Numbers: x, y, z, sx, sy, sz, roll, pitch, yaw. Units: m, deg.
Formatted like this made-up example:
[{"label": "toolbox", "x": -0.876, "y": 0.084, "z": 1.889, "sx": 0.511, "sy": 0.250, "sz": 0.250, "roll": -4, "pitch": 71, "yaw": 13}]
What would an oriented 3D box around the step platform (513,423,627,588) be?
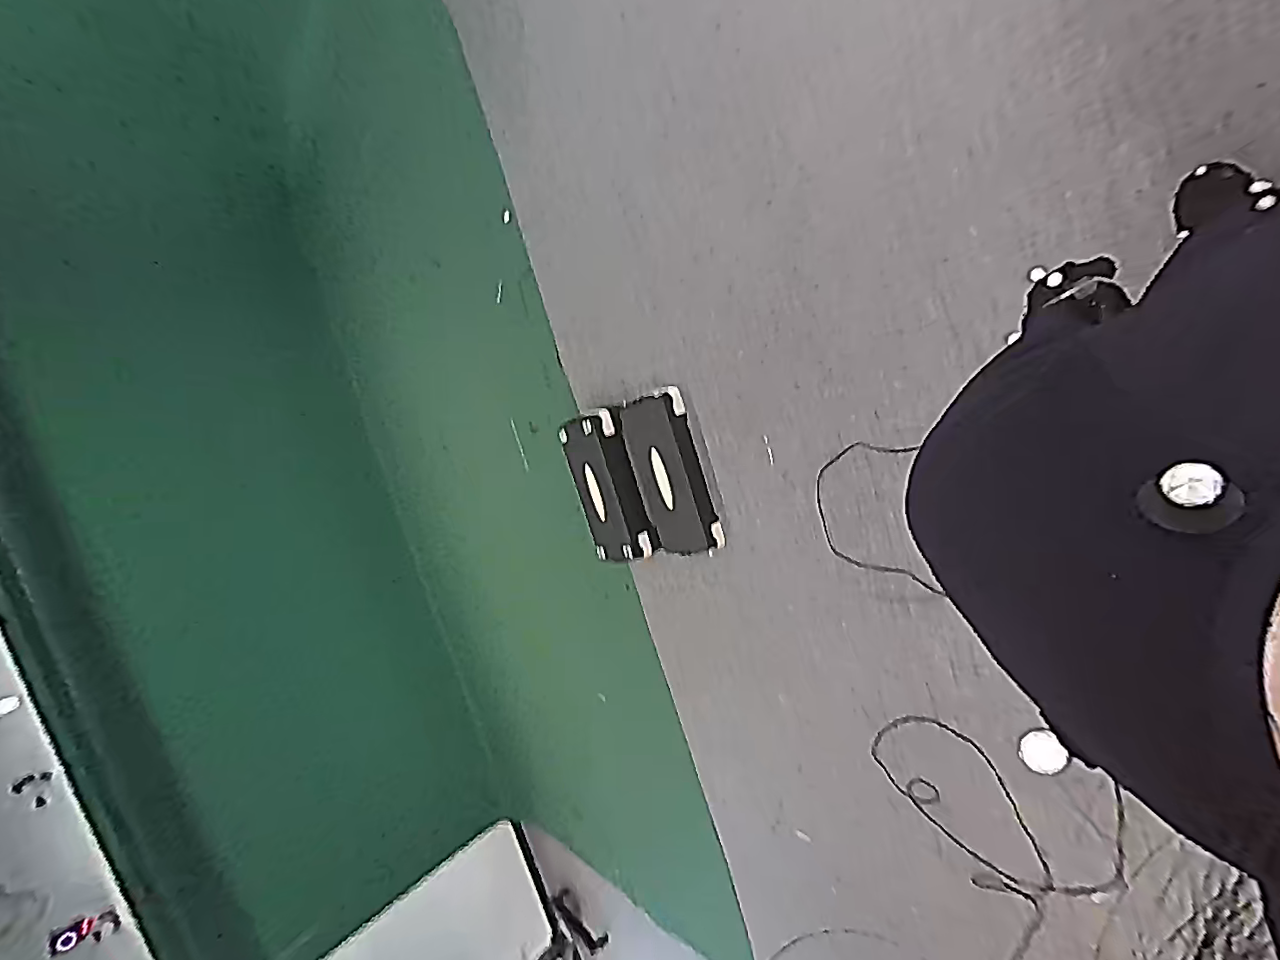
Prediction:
[{"label": "step platform", "x": -0.294, "y": 0.104, "z": 2.296, "sx": 0.286, "sy": 0.204, "sz": 0.684, "roll": -10, "pitch": 101, "yaw": 49}]
